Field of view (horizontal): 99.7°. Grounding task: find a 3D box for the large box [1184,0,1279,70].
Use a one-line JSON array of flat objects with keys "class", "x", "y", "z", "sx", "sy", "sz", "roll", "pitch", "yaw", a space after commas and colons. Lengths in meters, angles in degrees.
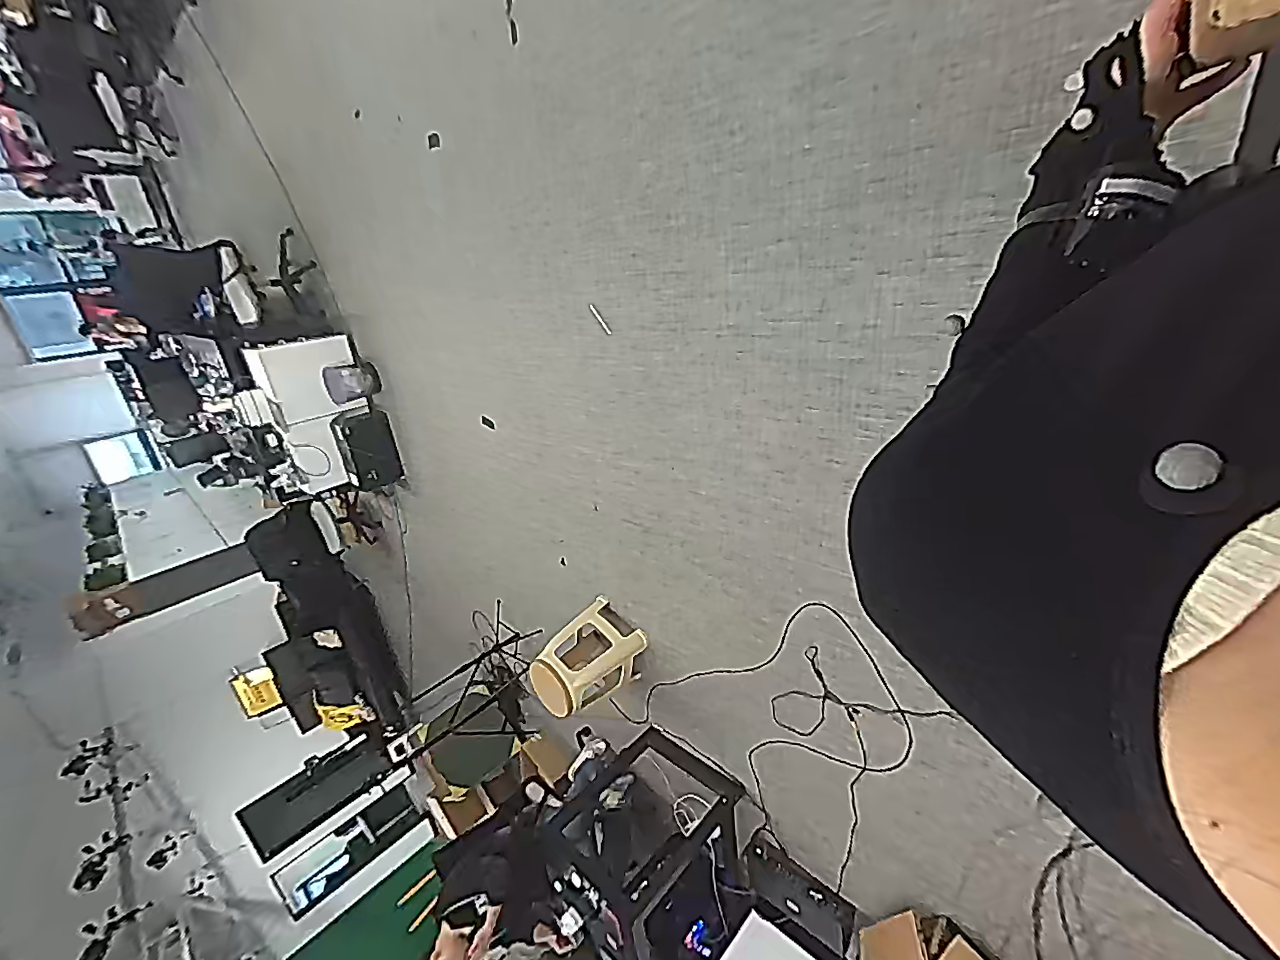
[{"class": "large box", "x": 0.418, "y": -0.373, "z": 0.125, "sx": 0.408, "sy": 0.320, "sz": 0.320, "roll": 2, "pitch": 118, "yaw": 42}]
